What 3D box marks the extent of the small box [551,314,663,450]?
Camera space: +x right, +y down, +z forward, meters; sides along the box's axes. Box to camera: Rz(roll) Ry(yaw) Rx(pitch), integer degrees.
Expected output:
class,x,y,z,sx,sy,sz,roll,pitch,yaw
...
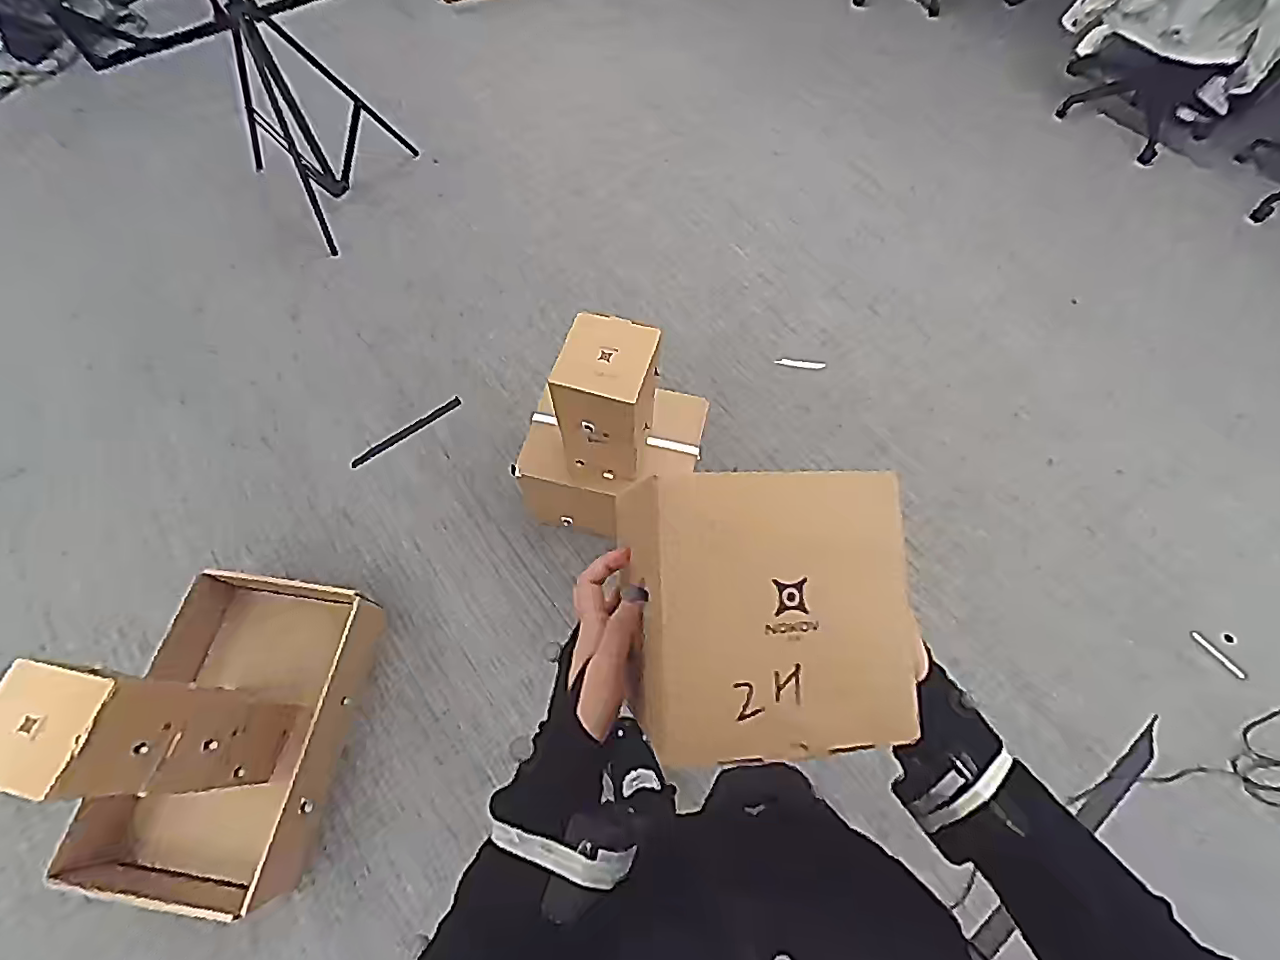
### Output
class,x,y,z,sx,sy,sz,roll,pitch,yaw
small box,-0.060,-0.186,1.056,0.168,0.176,0.179,15,66,6

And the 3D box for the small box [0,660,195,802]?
class,x,y,z,sx,sy,sz,roll,pitch,yaw
small box,-0.891,0.403,0.869,0.179,0.176,0.168,11,64,5

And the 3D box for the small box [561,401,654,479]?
class,x,y,z,sx,sy,sz,roll,pitch,yaw
small box,-0.065,-0.122,1.205,0.168,0.176,0.179,13,64,4

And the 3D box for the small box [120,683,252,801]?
class,x,y,z,sx,sy,sz,roll,pitch,yaw
small box,-0.886,0.481,1.013,0.179,0.176,0.168,12,64,4

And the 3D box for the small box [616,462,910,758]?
class,x,y,z,sx,sy,sz,roll,pitch,yaw
small box,0.074,0.086,0.414,0.168,0.176,0.179,0,83,-10
